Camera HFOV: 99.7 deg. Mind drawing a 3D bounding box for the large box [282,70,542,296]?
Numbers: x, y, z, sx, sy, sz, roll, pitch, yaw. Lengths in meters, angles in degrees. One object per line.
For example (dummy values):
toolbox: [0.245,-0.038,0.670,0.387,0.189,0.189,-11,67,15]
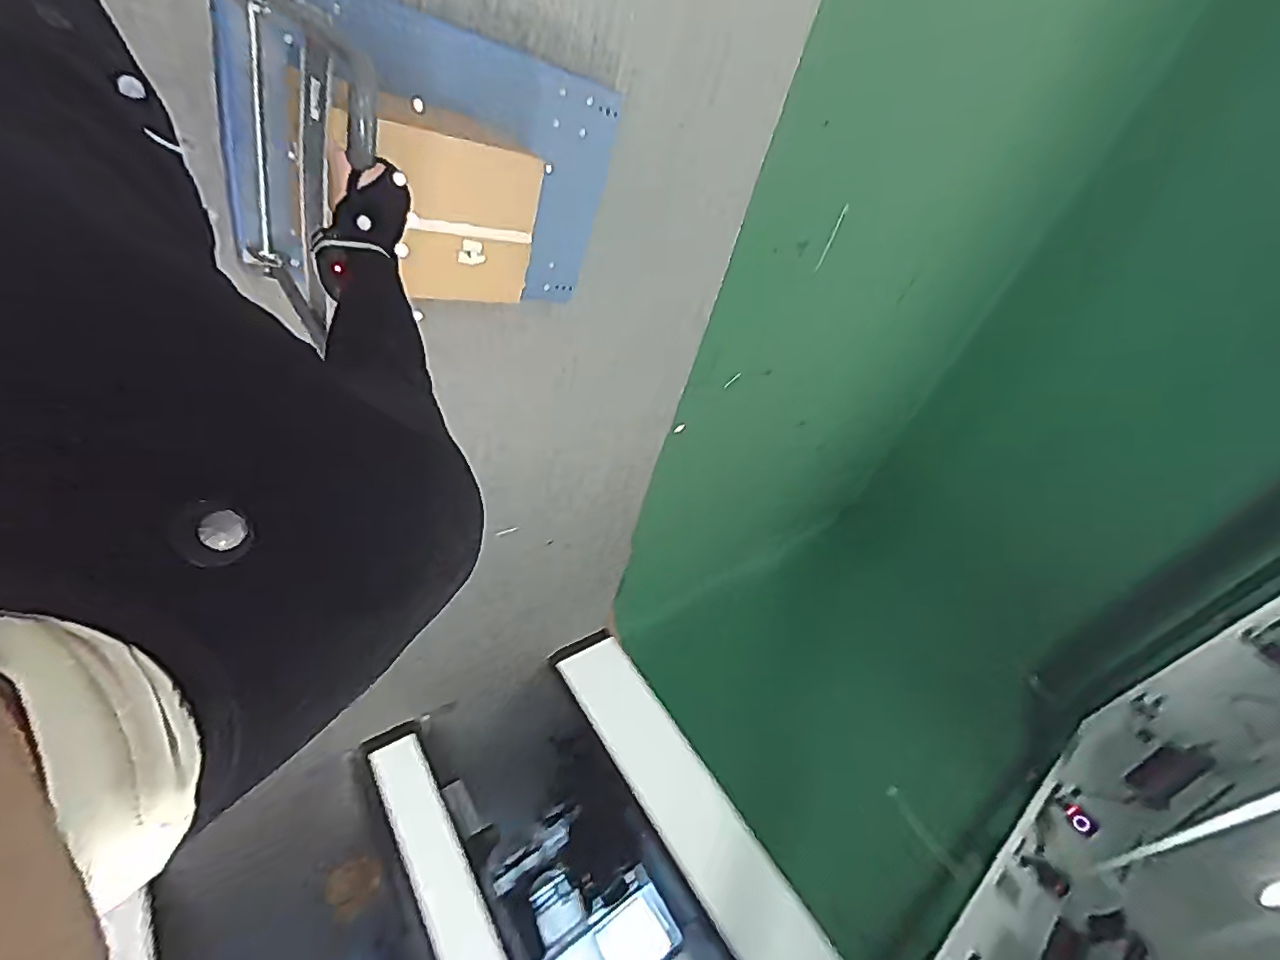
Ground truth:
large box: [-0.482,-0.608,1.147,0.408,0.320,0.320,-12,138,-39]
